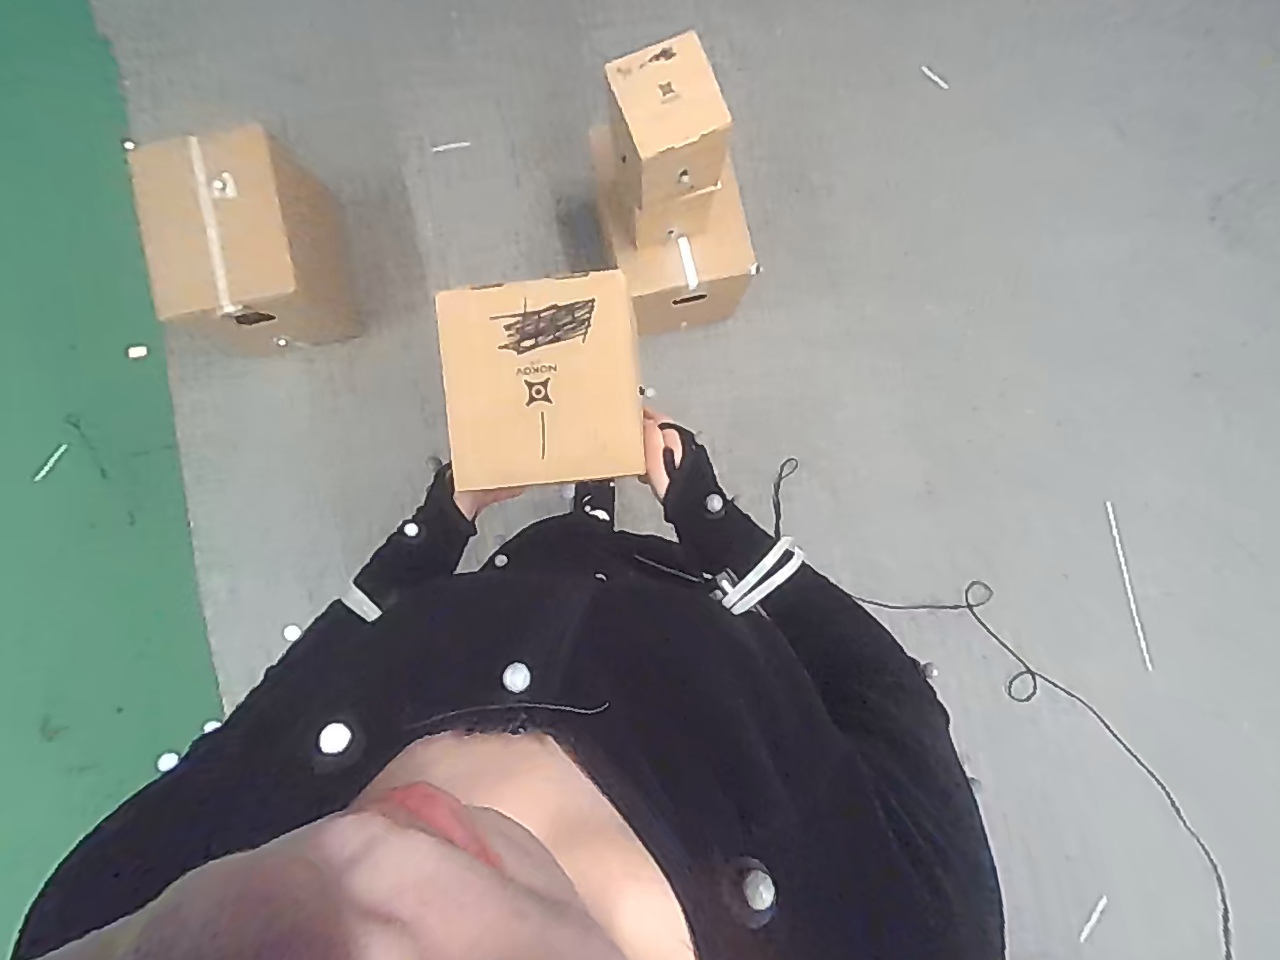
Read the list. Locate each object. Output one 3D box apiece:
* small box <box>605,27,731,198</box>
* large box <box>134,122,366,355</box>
[{"bbox_3d":[0.049,-0.639,0.970,0.168,0.176,0.179,-21,89,0],"label":"small box"},{"bbox_3d":[-0.951,-0.578,1.362,0.320,0.320,0.408,-13,87,-1],"label":"large box"}]
